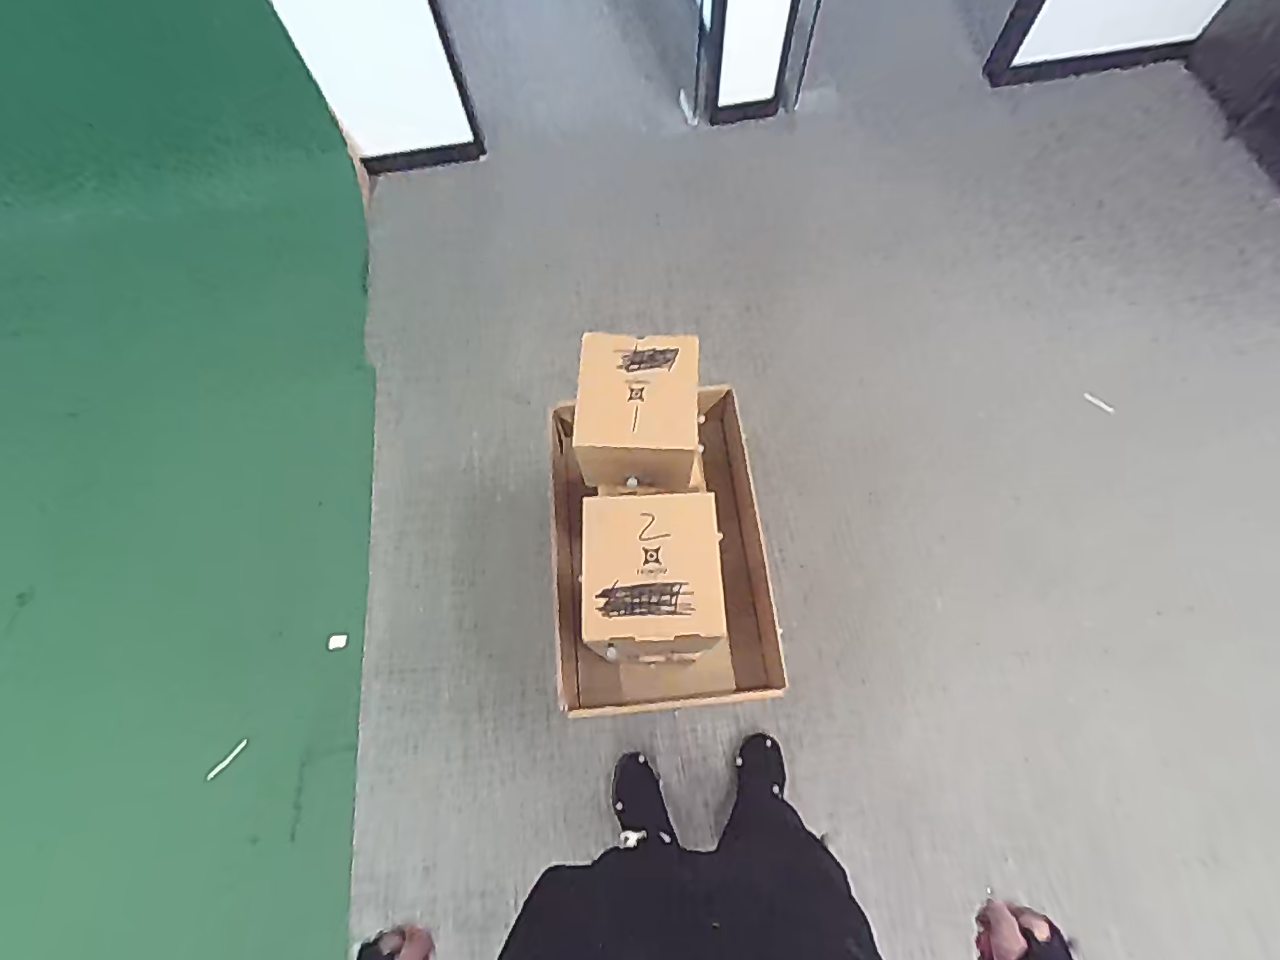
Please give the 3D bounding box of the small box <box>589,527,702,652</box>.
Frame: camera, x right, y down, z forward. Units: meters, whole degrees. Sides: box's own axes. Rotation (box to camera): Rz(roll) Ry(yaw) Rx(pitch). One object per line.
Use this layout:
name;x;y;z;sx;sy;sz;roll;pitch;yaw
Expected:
small box;0.009;0.184;0.876;0.168;0.176;0.179;-2;67;0

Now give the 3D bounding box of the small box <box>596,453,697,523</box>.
small box;0.003;-0.035;0.966;0.168;0.176;0.179;-7;70;-1

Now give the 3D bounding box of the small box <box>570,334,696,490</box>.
small box;-0.006;-0.096;0.814;0.168;0.176;0.179;2;71;2
